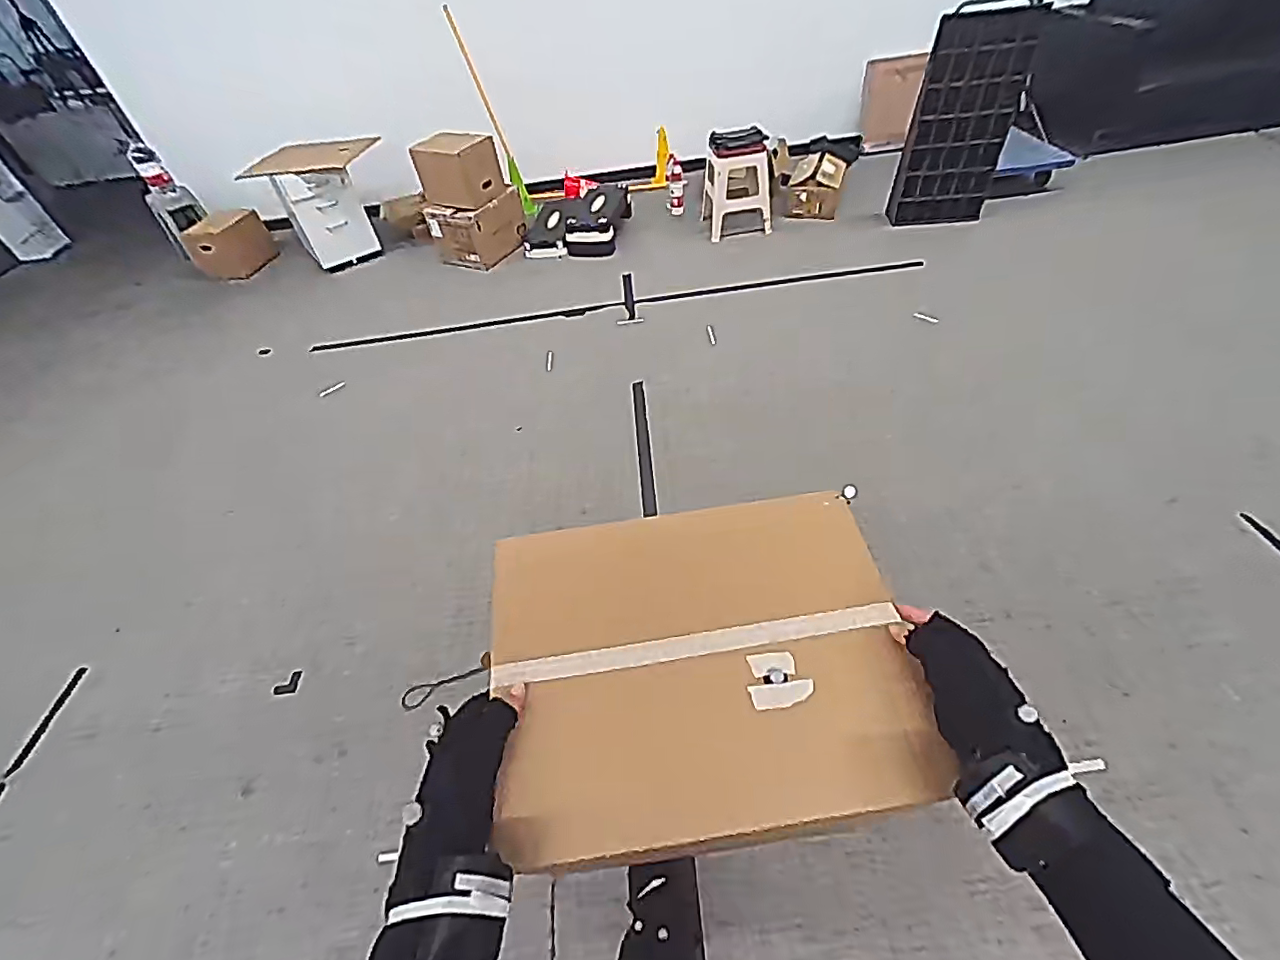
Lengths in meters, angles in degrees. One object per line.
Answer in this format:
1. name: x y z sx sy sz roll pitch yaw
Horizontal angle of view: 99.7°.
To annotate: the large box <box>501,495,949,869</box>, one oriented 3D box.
1. large box: 0.063 0.257 0.669 0.408 0.320 0.320 -8 54 -2
